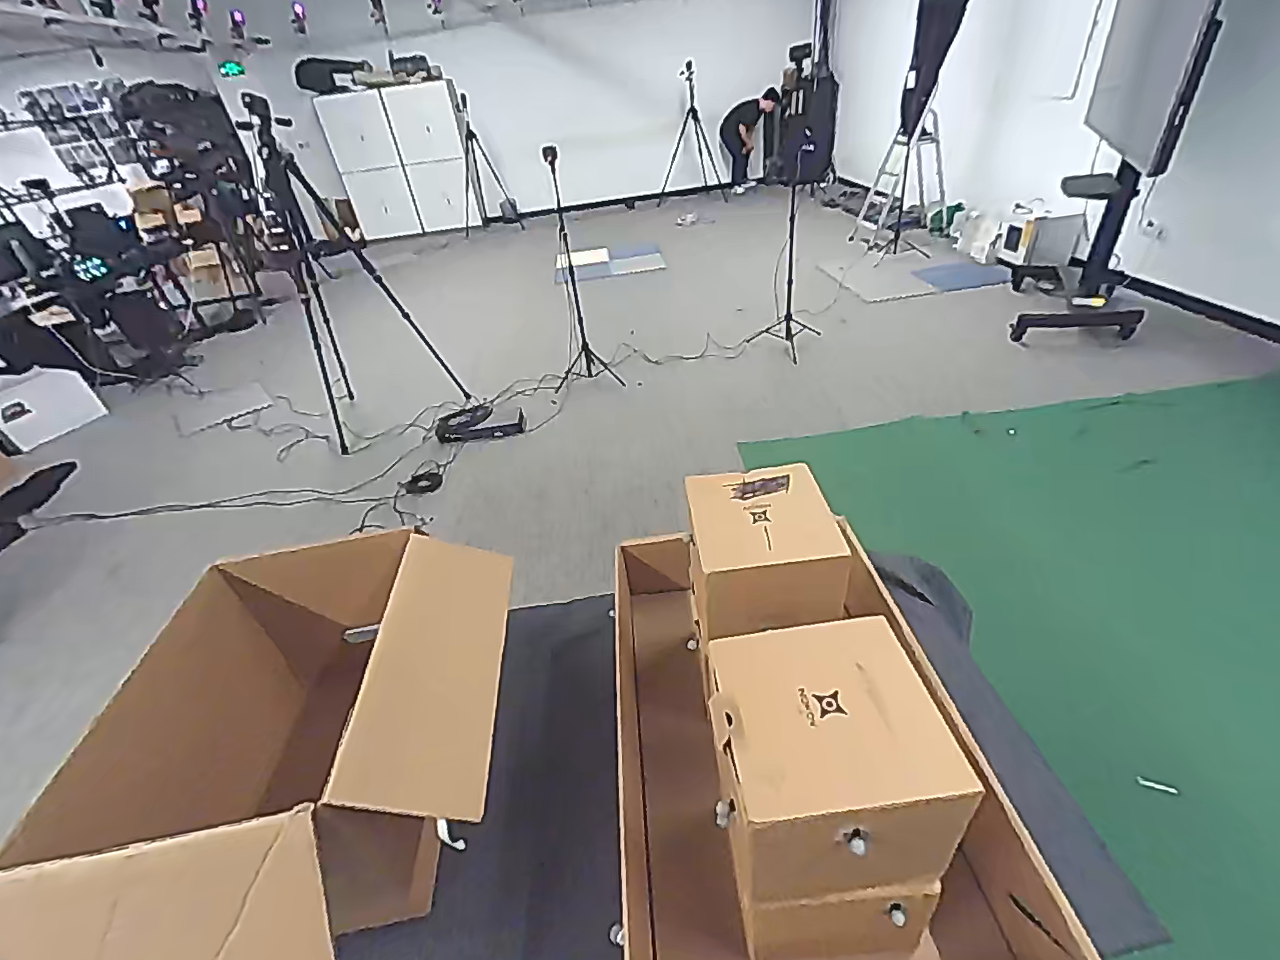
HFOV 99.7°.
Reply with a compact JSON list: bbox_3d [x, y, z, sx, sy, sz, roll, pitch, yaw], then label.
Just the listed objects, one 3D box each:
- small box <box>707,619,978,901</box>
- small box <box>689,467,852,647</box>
[{"bbox_3d":[0.166,0.258,0.502,0.179,0.176,0.168,-8,35,0],"label":"small box"},{"bbox_3d":[0.157,0.107,0.706,0.168,0.176,0.179,-7,38,2],"label":"small box"}]
